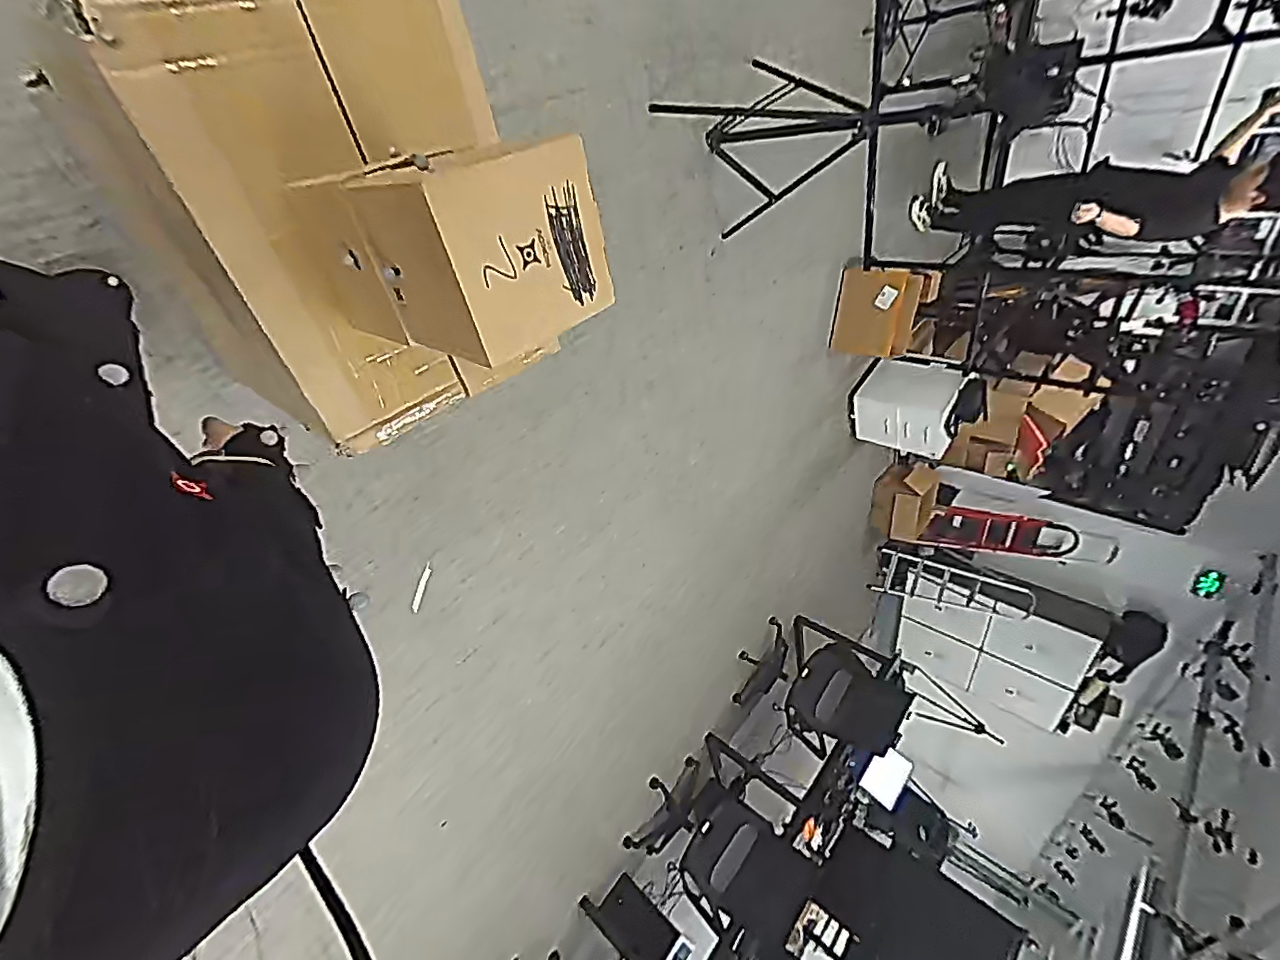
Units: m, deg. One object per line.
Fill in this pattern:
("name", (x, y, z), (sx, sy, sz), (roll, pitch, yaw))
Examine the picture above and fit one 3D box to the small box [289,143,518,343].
("small box", (-0.284, -0.289, 0.660), (0.168, 0.176, 0.179), (-39, 134, -31))
